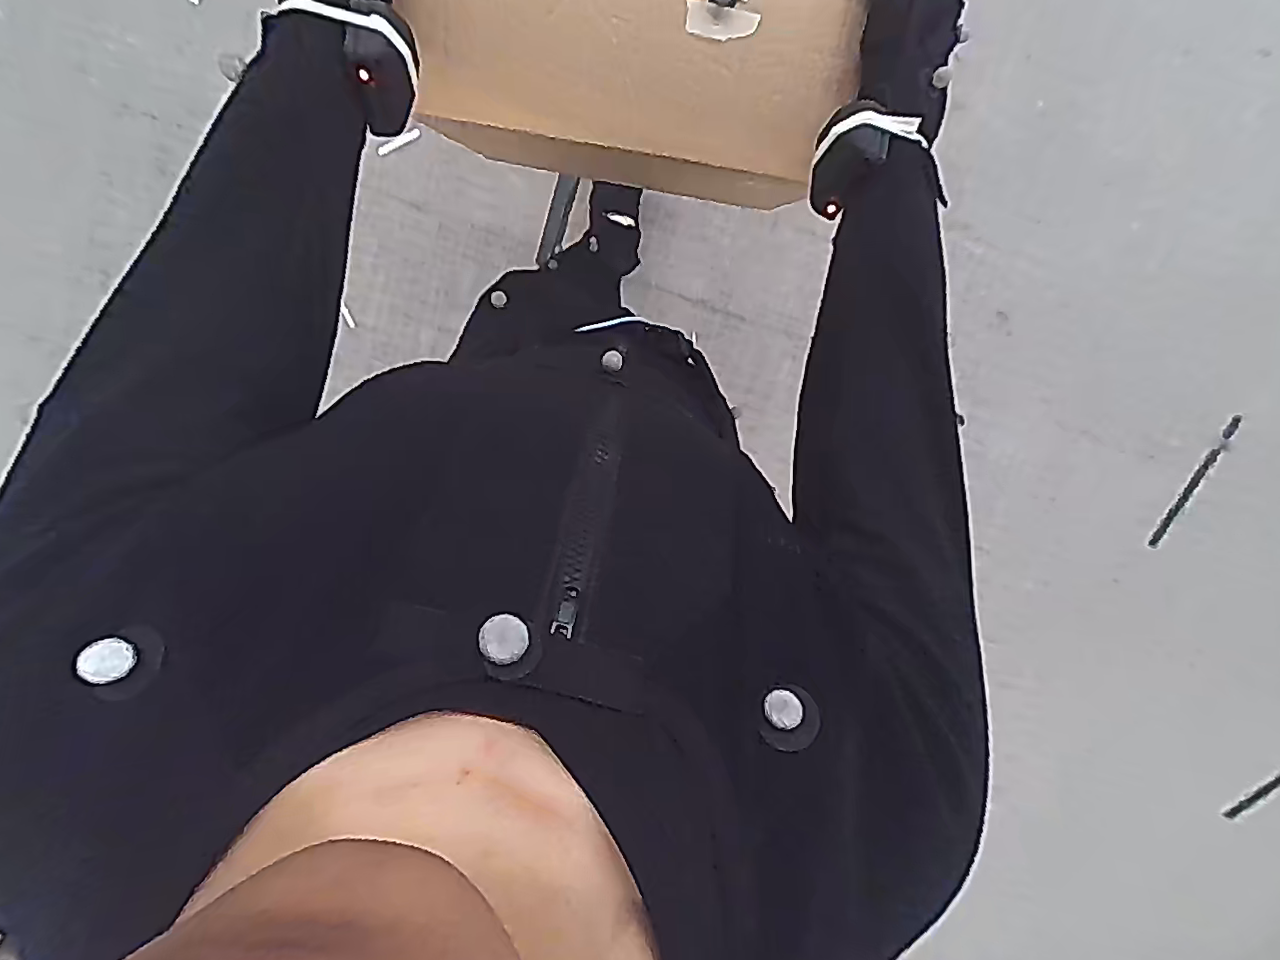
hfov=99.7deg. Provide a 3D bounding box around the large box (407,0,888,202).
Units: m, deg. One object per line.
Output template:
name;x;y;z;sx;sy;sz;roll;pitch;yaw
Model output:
large box;0.012;-0.503;0.566;0.408;0.320;0.320;8;114;-4
